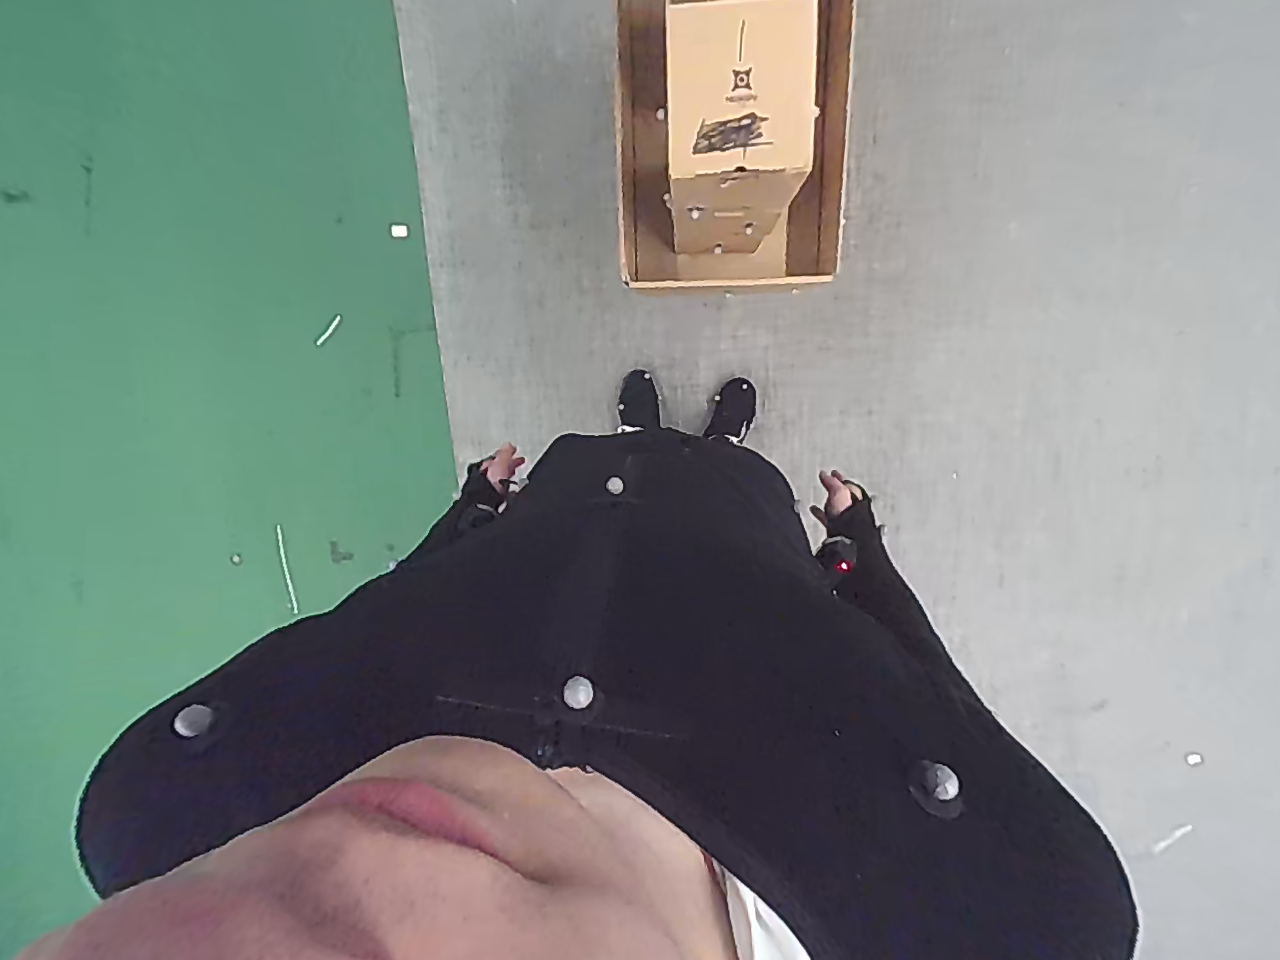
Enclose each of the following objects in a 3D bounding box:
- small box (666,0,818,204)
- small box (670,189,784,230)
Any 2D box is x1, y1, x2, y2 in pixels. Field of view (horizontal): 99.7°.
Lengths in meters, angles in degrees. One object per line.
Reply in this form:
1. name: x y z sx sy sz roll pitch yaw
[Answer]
1. small box: 0.118 -0.460 0.680 0.168 0.176 0.179 -1 102 4
2. small box: 0.133 -0.495 0.839 0.168 0.176 0.179 1 103 4
